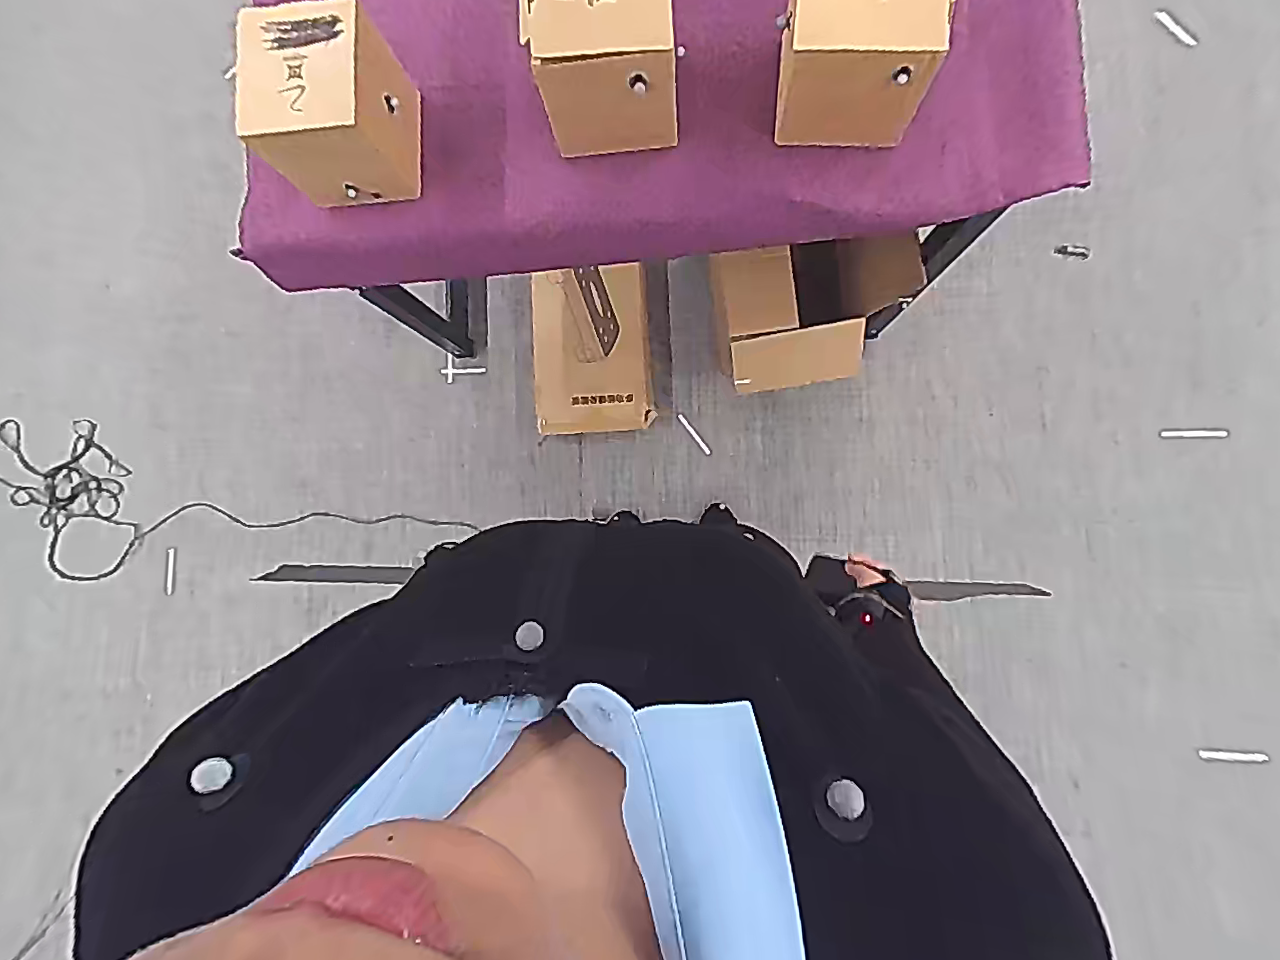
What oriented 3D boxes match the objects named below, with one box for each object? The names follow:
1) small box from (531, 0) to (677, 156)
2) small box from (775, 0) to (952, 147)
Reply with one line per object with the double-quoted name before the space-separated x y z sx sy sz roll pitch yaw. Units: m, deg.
"small box" -0.040 -0.574 0.730 0.179 0.176 0.168 -3 84 5
"small box" 0.277 -0.563 0.700 0.179 0.176 0.168 5 87 6
